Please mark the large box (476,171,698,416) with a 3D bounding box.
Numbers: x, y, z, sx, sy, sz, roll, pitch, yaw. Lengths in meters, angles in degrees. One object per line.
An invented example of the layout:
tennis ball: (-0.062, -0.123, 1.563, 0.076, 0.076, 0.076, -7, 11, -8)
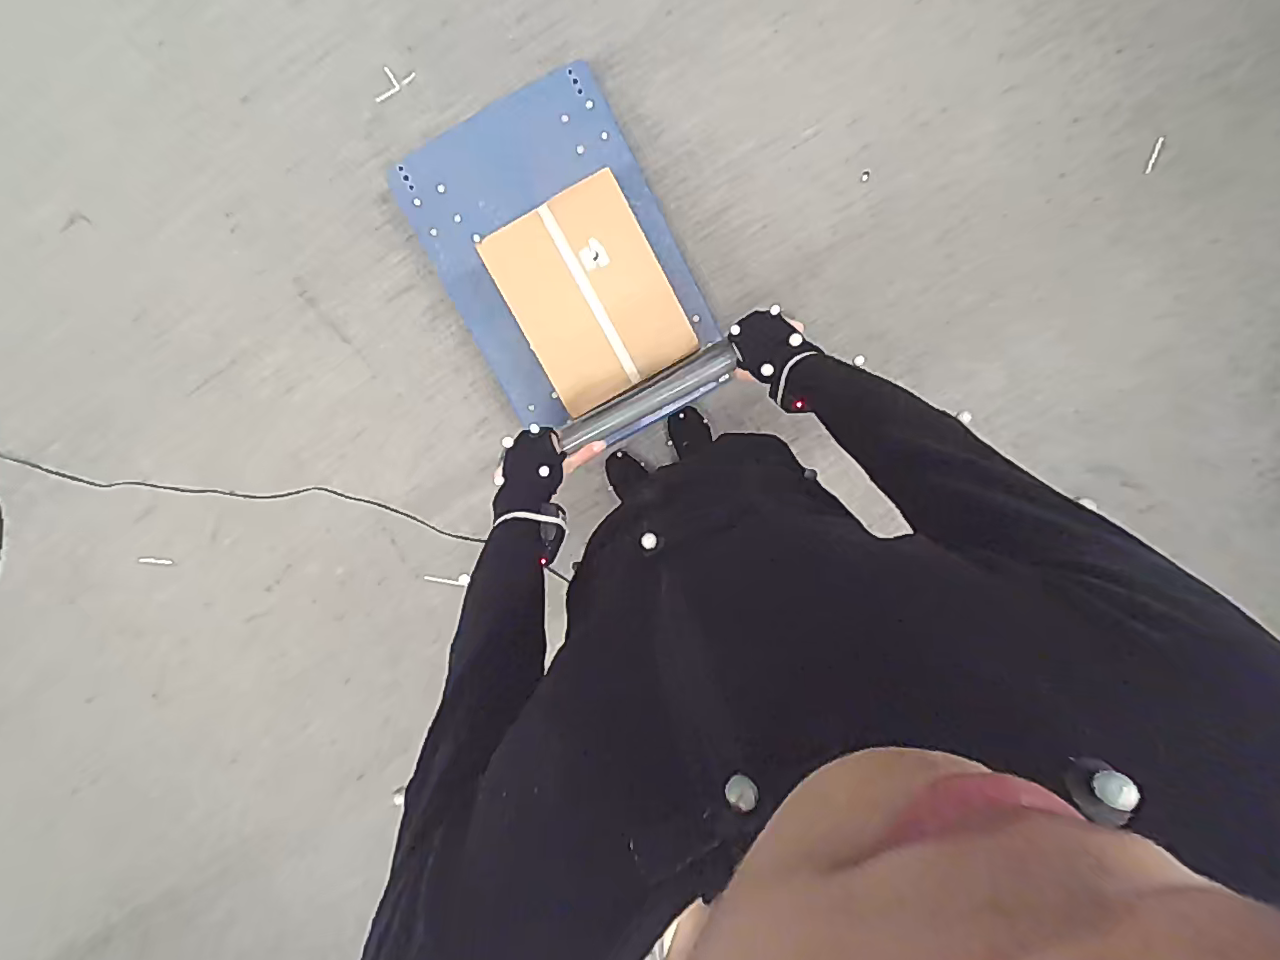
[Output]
large box: (-0.106, -0.394, 1.254, 0.320, 0.320, 0.408, -28, 97, 2)
